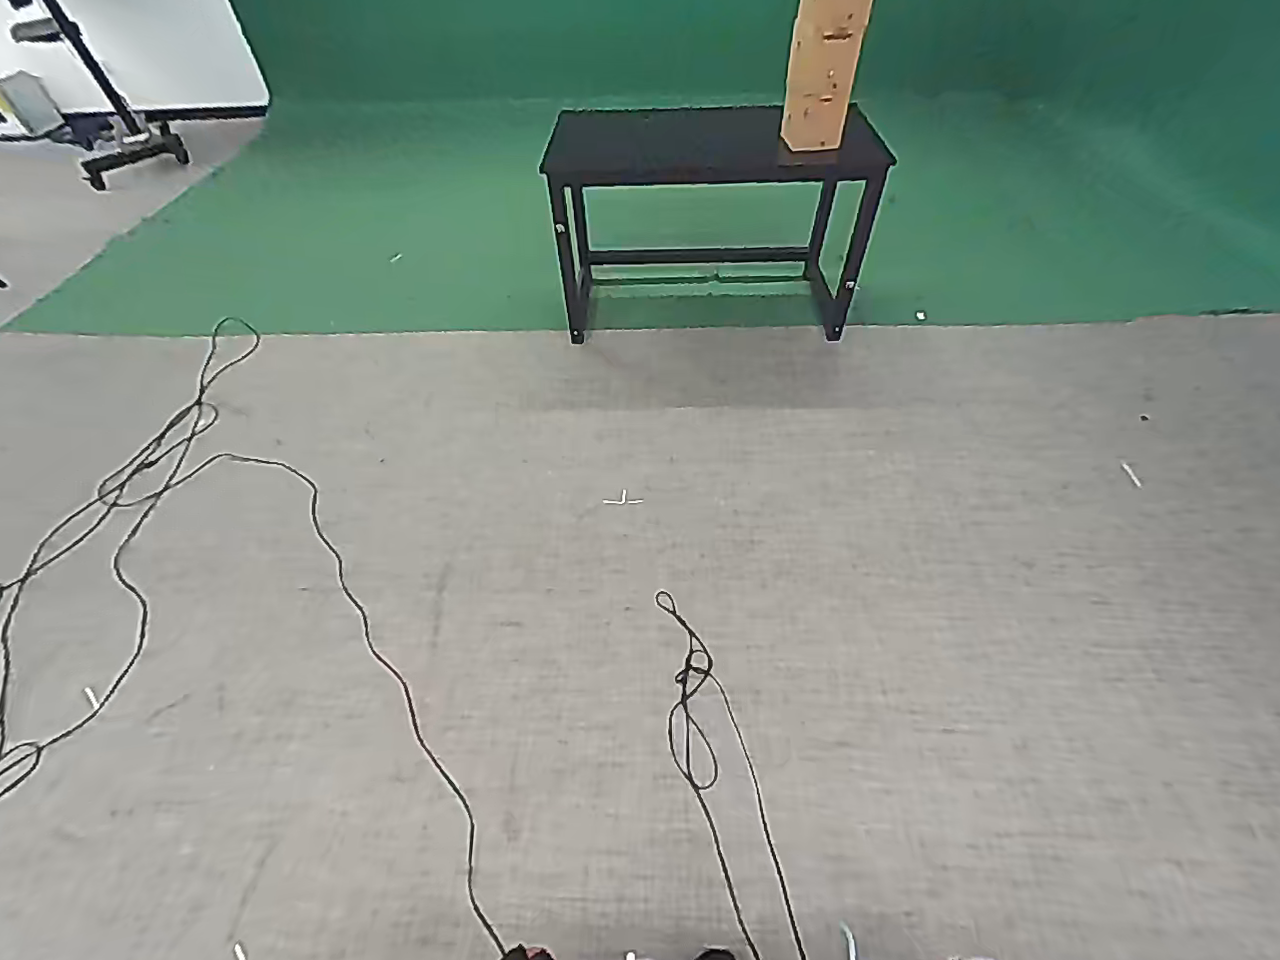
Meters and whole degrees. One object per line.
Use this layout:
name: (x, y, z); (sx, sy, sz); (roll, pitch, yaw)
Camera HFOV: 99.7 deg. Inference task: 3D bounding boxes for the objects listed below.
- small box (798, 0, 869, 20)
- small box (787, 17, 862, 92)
small box: (0.586, -1.491, 1.608); (0.168, 0.176, 0.179); (-6, 49, -3)
small box: (0.586, -1.375, 1.745); (0.168, 0.176, 0.179); (-6, 50, -2)
